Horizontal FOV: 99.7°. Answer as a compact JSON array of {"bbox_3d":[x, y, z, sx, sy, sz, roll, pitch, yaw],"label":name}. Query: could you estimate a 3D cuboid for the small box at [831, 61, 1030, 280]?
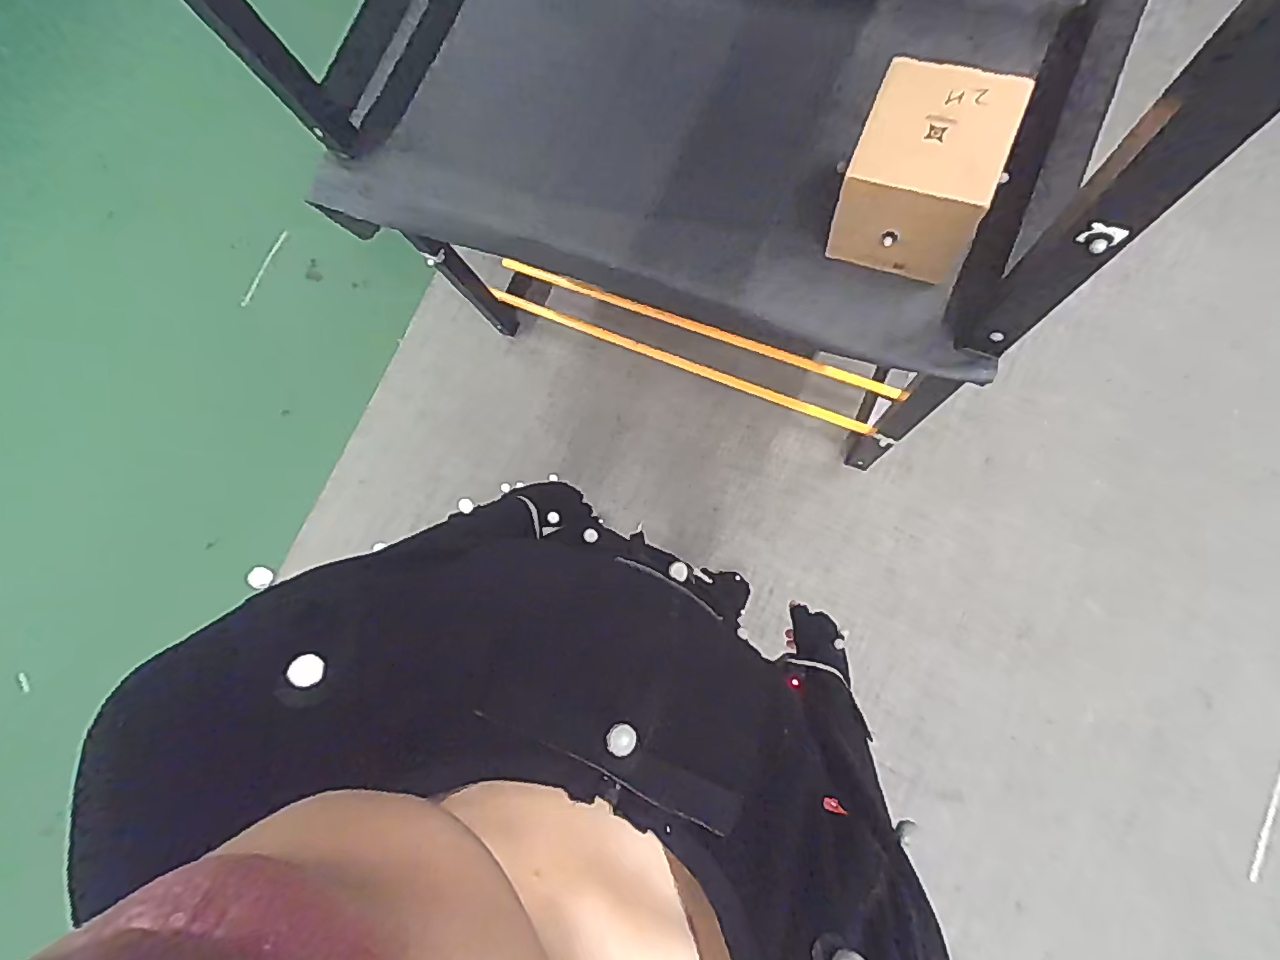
[{"bbox_3d":[0.367,-0.399,0.721,0.168,0.176,0.179,21,83,14],"label":"small box"}]
